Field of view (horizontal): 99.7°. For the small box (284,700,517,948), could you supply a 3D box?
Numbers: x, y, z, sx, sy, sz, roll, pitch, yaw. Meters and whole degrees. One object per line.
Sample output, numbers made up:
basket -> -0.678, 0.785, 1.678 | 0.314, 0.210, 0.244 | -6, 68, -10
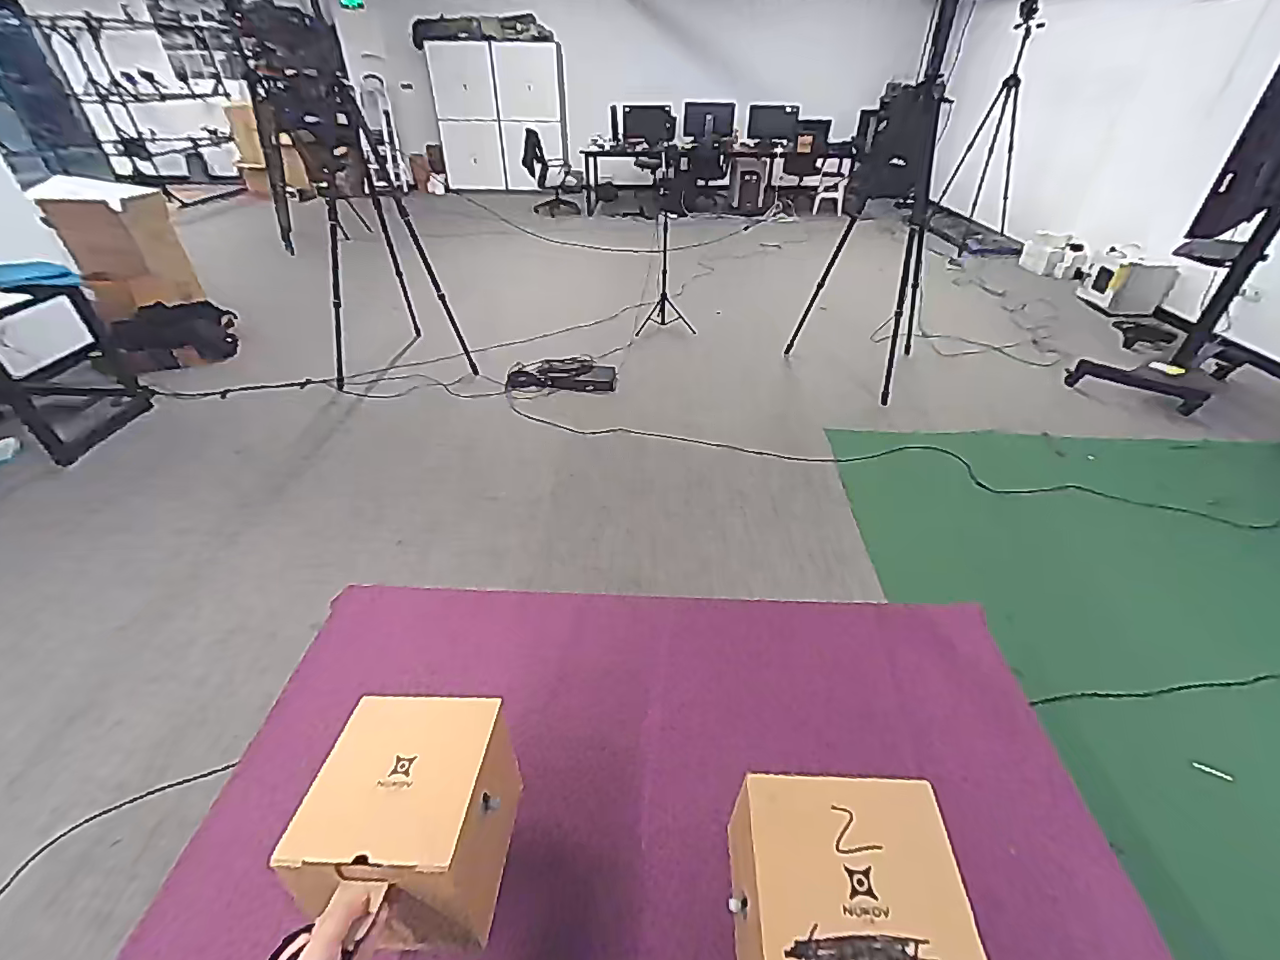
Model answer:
small box -> -0.241, 0.374, 0.601 | 0.168, 0.176, 0.179 | 0, 31, 3
